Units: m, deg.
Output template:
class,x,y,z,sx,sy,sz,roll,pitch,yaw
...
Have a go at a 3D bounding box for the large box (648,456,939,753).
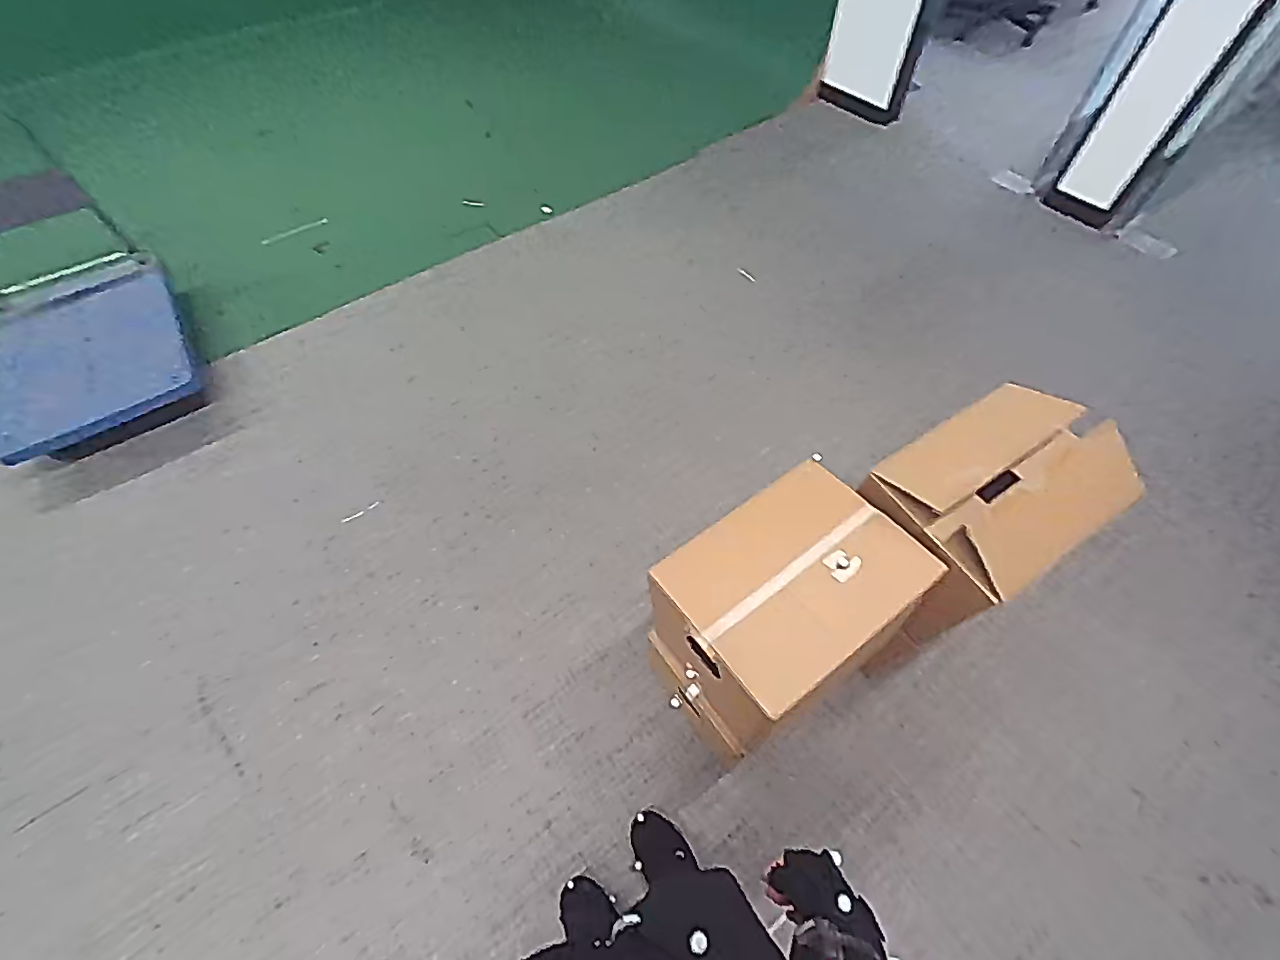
class,x,y,z,sx,sy,sz,roll,pitch,yaw
large box,0.268,0.236,1.038,0.408,0.320,0.320,-32,58,-18
